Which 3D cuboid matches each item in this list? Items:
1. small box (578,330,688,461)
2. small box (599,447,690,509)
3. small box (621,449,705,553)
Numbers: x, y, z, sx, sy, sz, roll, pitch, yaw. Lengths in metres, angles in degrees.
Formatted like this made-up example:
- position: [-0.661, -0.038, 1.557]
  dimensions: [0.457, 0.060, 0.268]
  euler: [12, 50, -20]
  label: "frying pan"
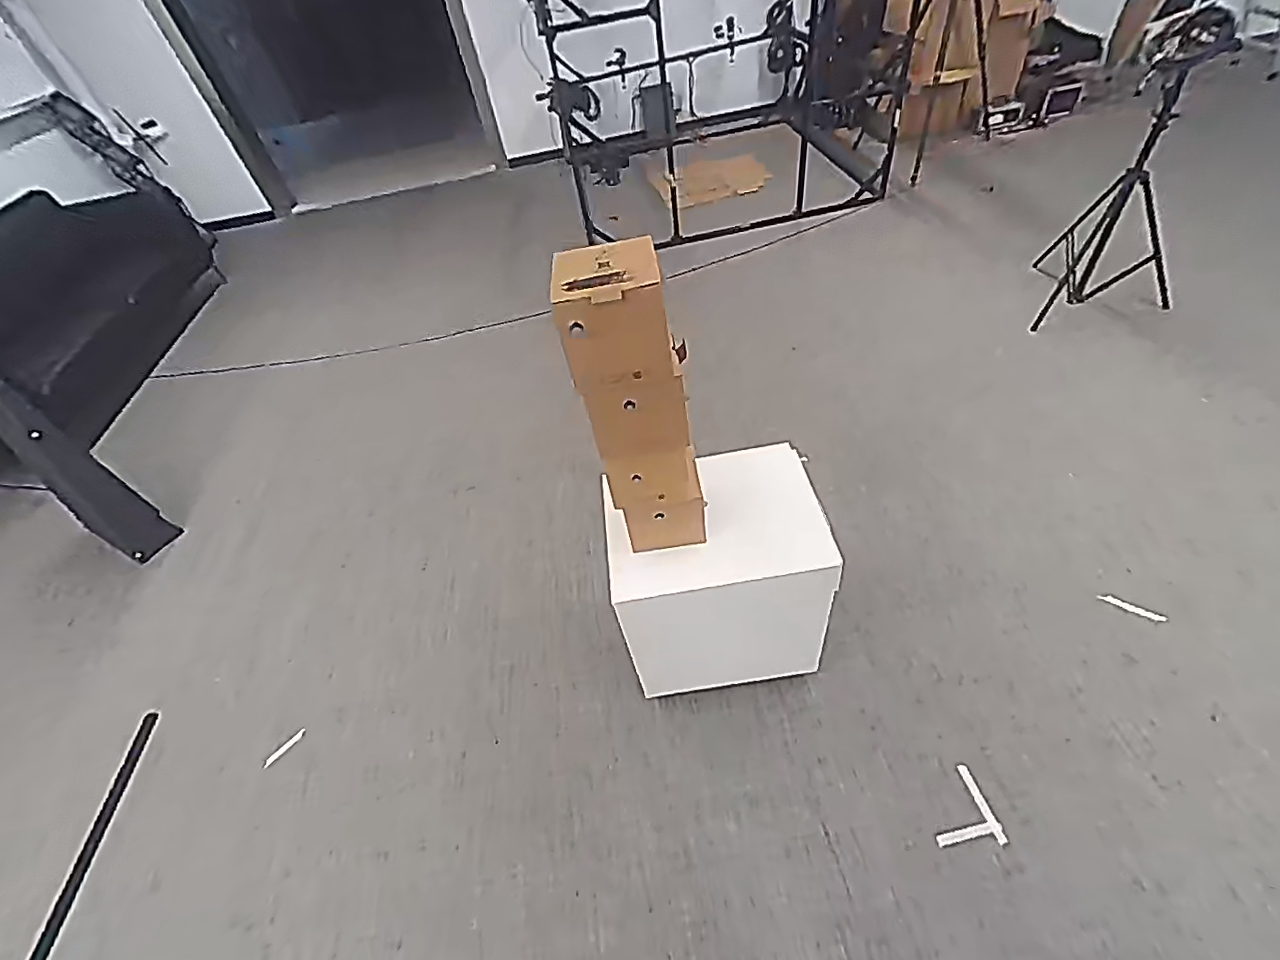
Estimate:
- position: [-0.012, -0.153, 1.013]
  dimensions: [0.179, 0.176, 0.168]
  euler: [-10, 47, 2]
  label: "small box"
- position: [0.011, -0.052, 1.142]
  dimensions: [0.168, 0.176, 0.179]
  euler: [-8, 46, 4]
  label: "small box"
- position: [0.052, 0.054, 1.259]
  dimensions: [0.179, 0.176, 0.168]
  euler: [-8, 47, 2]
  label: "small box"
